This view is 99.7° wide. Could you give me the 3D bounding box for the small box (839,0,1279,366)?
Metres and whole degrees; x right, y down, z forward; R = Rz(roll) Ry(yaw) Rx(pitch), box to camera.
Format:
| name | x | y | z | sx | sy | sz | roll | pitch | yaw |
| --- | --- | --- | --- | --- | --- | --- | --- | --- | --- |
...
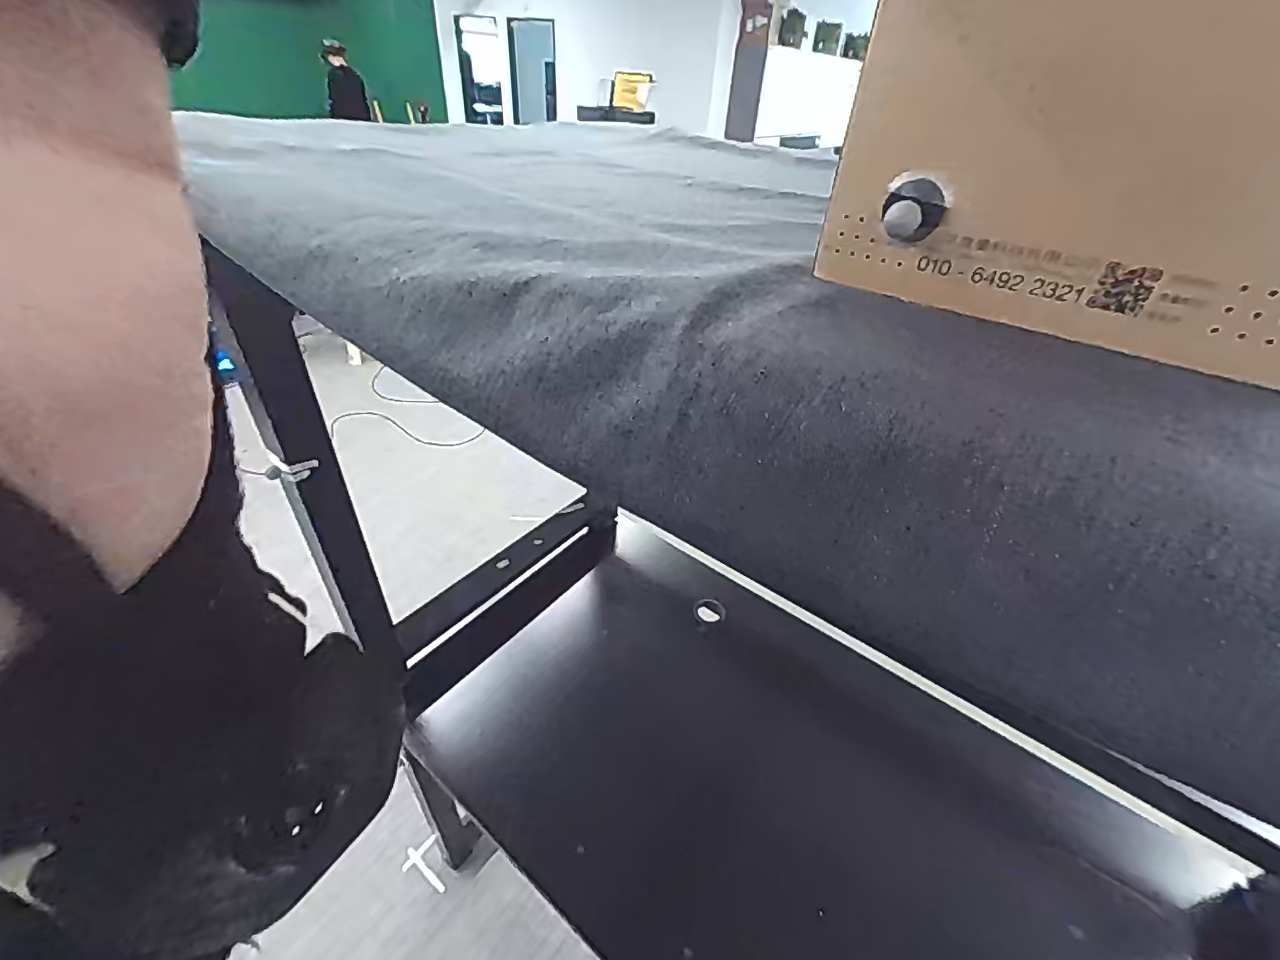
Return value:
| name | x | y | z | sx | sy | sz | roll | pitch | yaw |
| --- | --- | --- | --- | --- | --- | --- | --- | --- | --- |
| small box | 0.196 | -0.159 | 0.206 | 0.168 | 0.176 | 0.179 | 27 | 40 | 27 |
